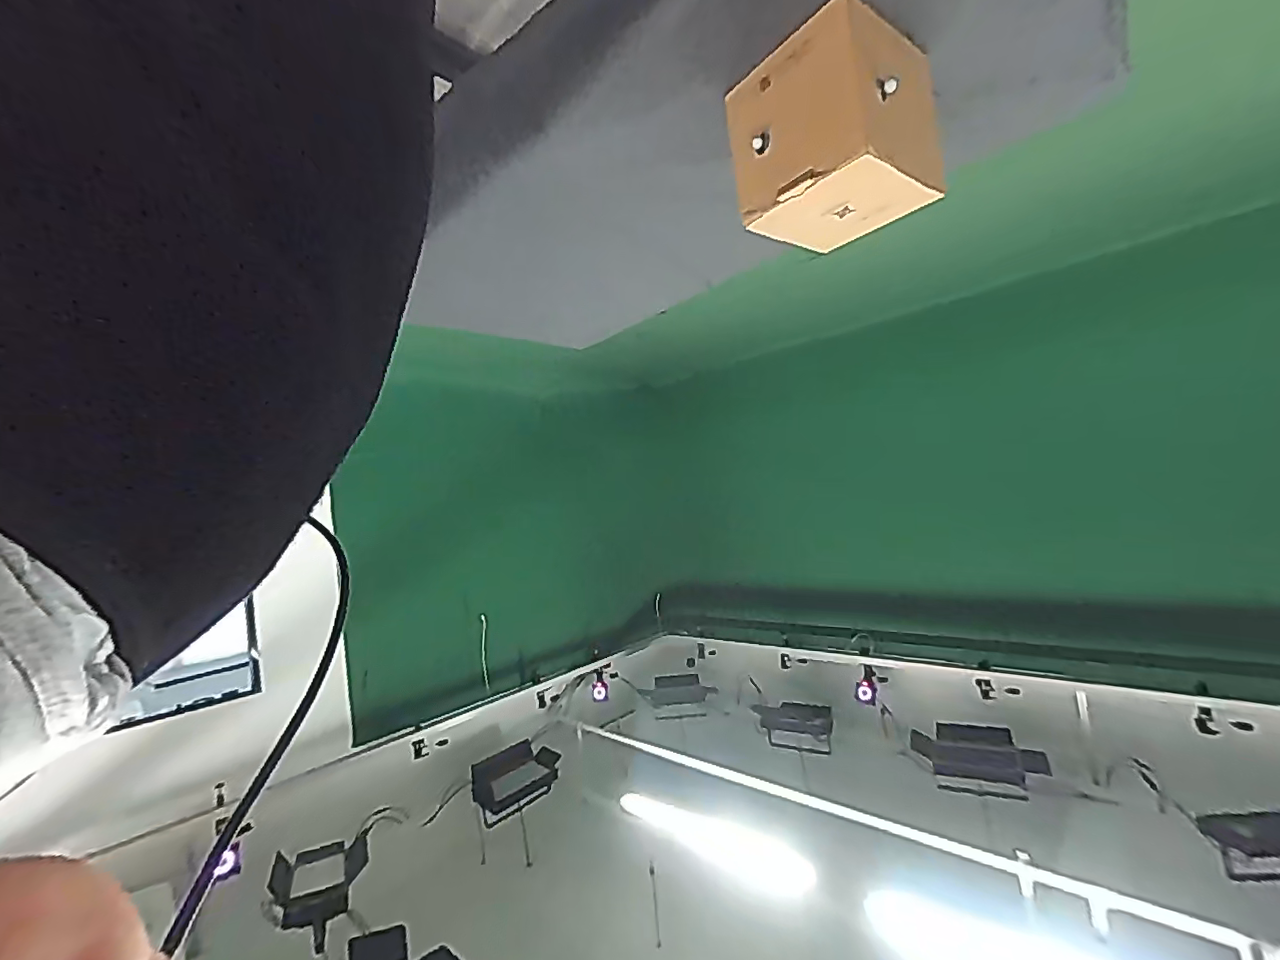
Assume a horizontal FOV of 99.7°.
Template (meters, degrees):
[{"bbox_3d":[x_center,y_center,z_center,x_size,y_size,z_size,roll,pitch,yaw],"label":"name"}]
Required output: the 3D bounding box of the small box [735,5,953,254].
[{"bbox_3d":[0.233,-0.394,0.635,0.179,0.176,0.168,-8,180,-36],"label":"small box"}]
